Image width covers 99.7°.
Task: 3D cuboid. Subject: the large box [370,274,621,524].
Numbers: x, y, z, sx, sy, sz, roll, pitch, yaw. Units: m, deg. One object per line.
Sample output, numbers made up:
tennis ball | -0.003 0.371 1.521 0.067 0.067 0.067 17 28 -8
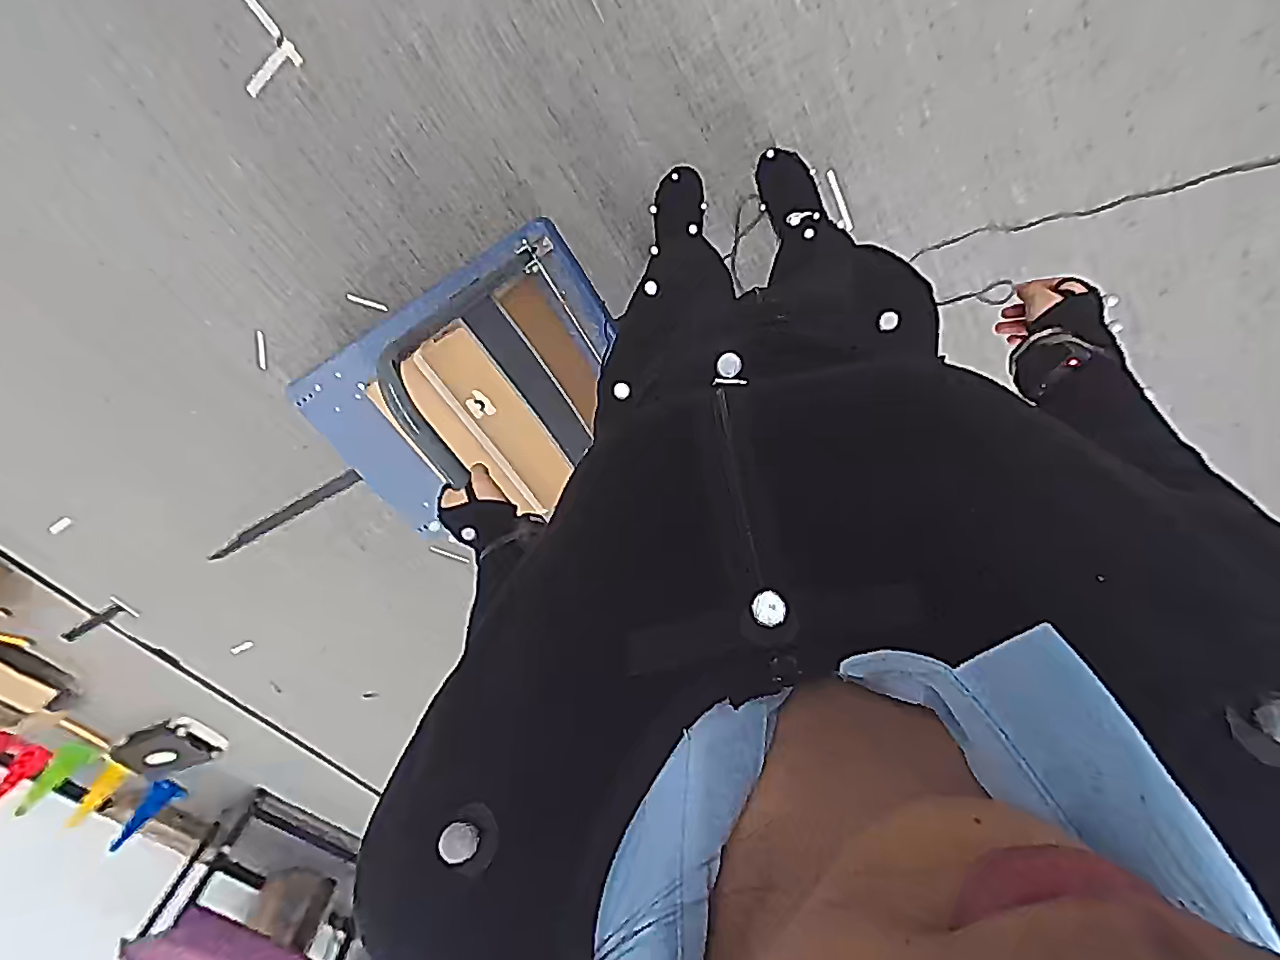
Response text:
large box | -0.290 -0.180 1.221 0.320 0.320 0.408 -23 118 21
